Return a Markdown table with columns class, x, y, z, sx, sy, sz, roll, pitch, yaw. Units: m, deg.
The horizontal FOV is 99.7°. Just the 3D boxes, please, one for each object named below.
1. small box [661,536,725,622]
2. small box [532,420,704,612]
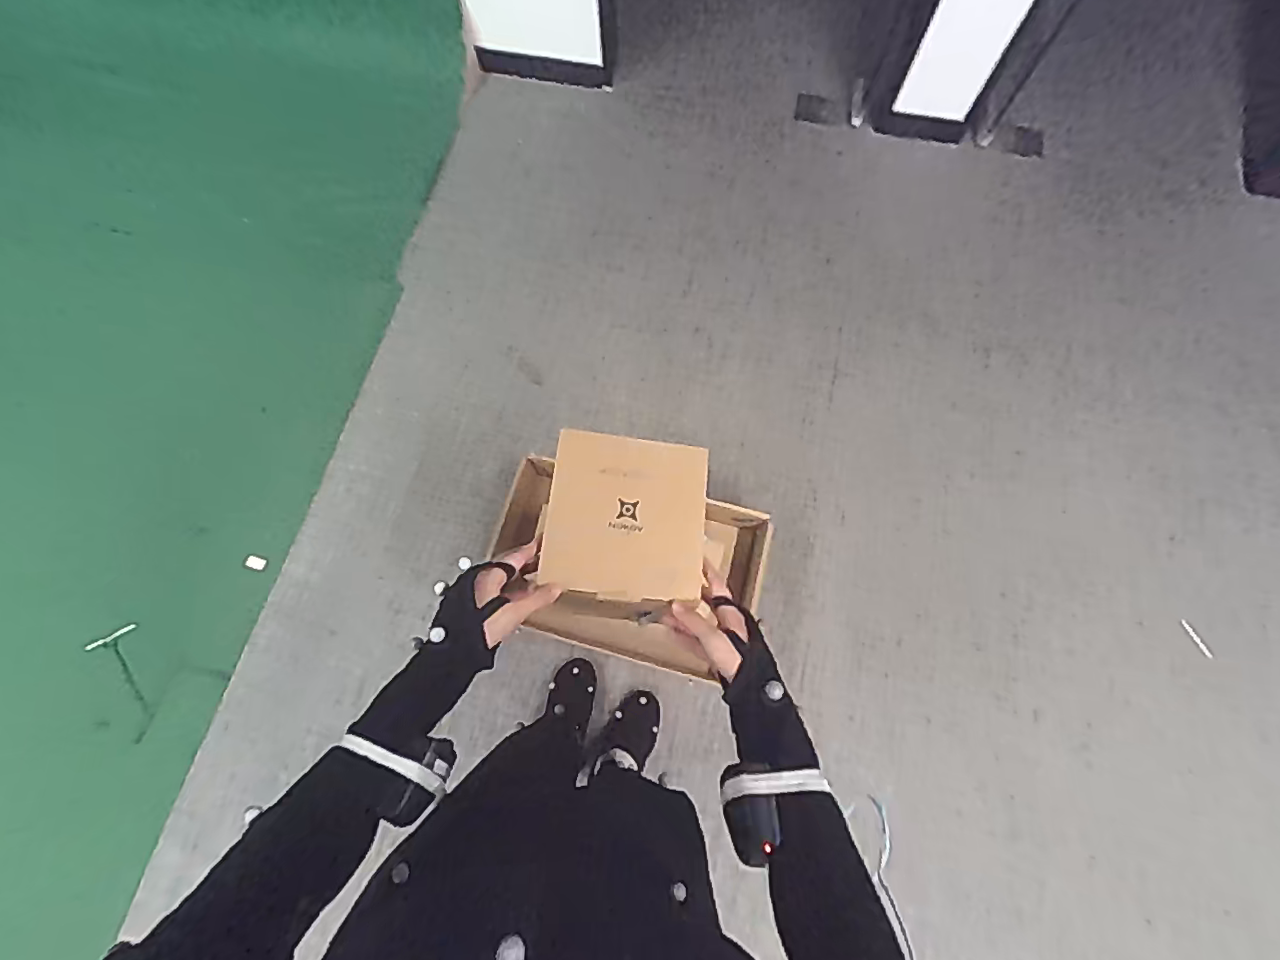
| class | x | y | z | sx | sy | sz | roll | pitch | yaw |
| --- | --- | --- | --- | --- | --- | --- | --- | --- | --- |
| small box | 0.091 | 0.225 | 1.269 | 0.168 | 0.176 | 0.179 | 15 | 74 | 7 |
| small box | -0.027 | 0.054 | 0.633 | 0.168 | 0.176 | 0.179 | 7 | 68 | -6 |
